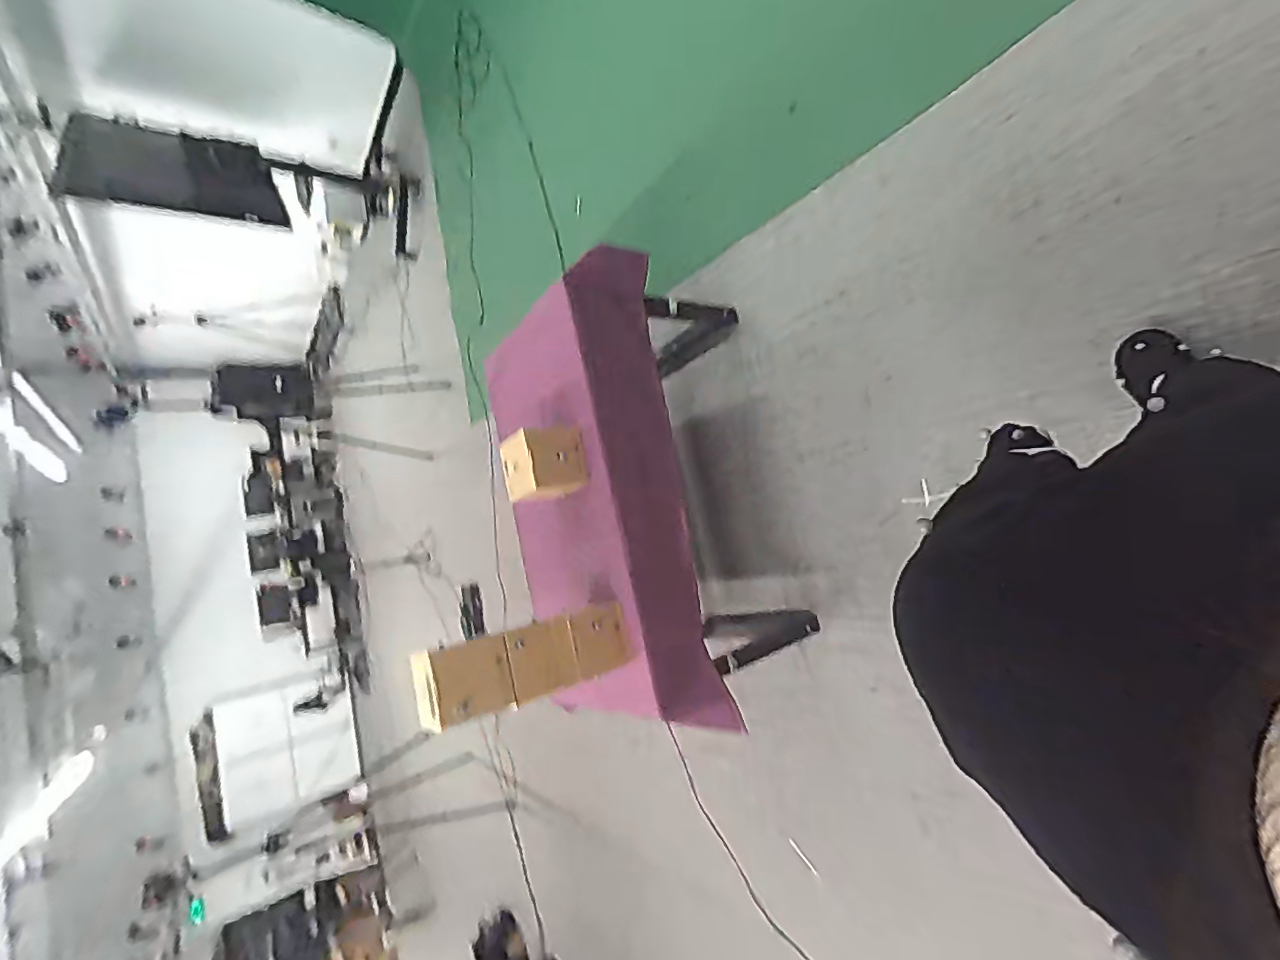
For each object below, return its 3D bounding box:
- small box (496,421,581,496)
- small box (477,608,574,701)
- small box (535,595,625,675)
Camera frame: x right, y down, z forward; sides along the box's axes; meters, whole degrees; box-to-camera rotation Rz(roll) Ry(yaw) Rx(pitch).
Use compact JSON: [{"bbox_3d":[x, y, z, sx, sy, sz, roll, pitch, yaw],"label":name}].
[{"bbox_3d":[-0.277,-0.061,1.509,0.179,0.176,0.168,-21,80,50],"label":"small box"},{"bbox_3d":[-0.280,0.429,1.336,0.168,0.176,0.179,-26,74,50],"label":"small box"},{"bbox_3d":[-0.155,0.408,1.438,0.179,0.176,0.168,-24,77,51],"label":"small box"}]
